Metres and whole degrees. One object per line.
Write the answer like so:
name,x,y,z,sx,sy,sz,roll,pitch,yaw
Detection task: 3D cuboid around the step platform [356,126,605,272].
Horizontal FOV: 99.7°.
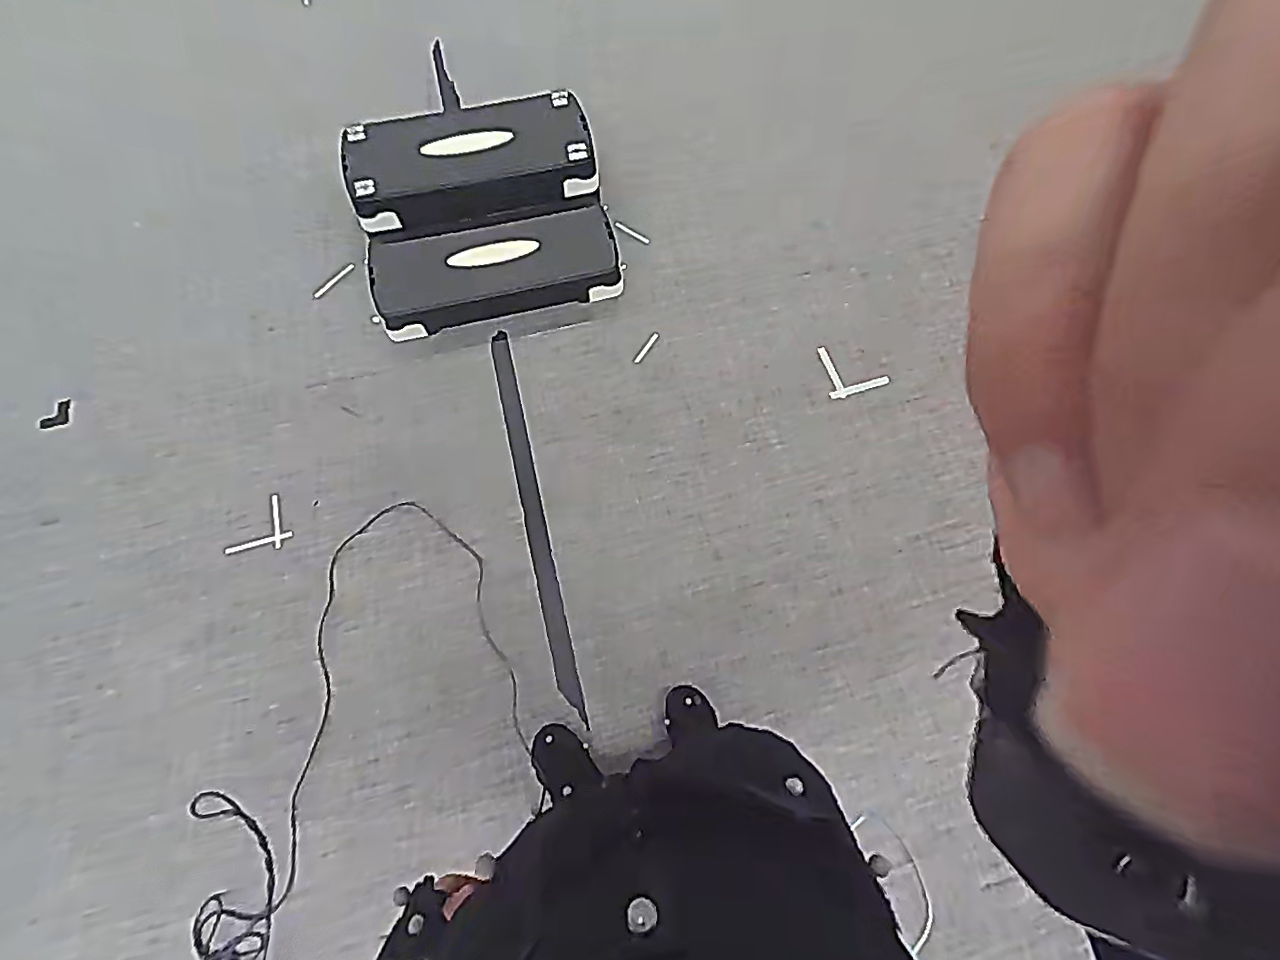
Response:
step platform,-0.449,-0.822,1.575,0.684,0.204,0.286,-10,70,-6
